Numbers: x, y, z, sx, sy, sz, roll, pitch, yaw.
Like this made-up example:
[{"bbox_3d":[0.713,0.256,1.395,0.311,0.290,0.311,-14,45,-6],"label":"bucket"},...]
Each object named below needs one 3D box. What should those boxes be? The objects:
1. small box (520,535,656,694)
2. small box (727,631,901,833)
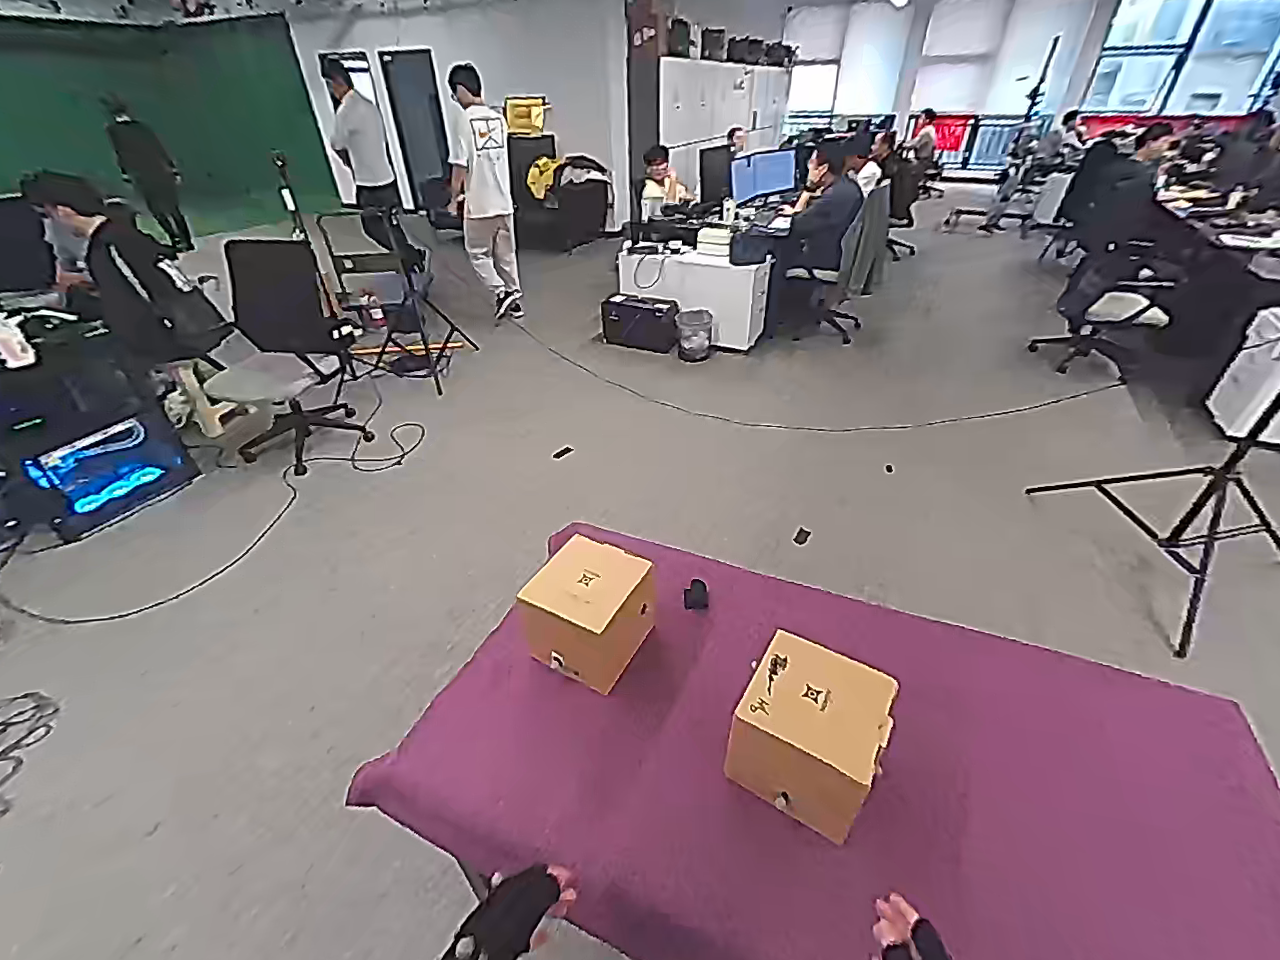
[{"bbox_3d":[-0.084,0.231,0.947,0.168,0.176,0.179,16,40,24],"label":"small box"},{"bbox_3d":[0.239,0.357,0.764,0.179,0.176,0.168,20,41,26],"label":"small box"}]
